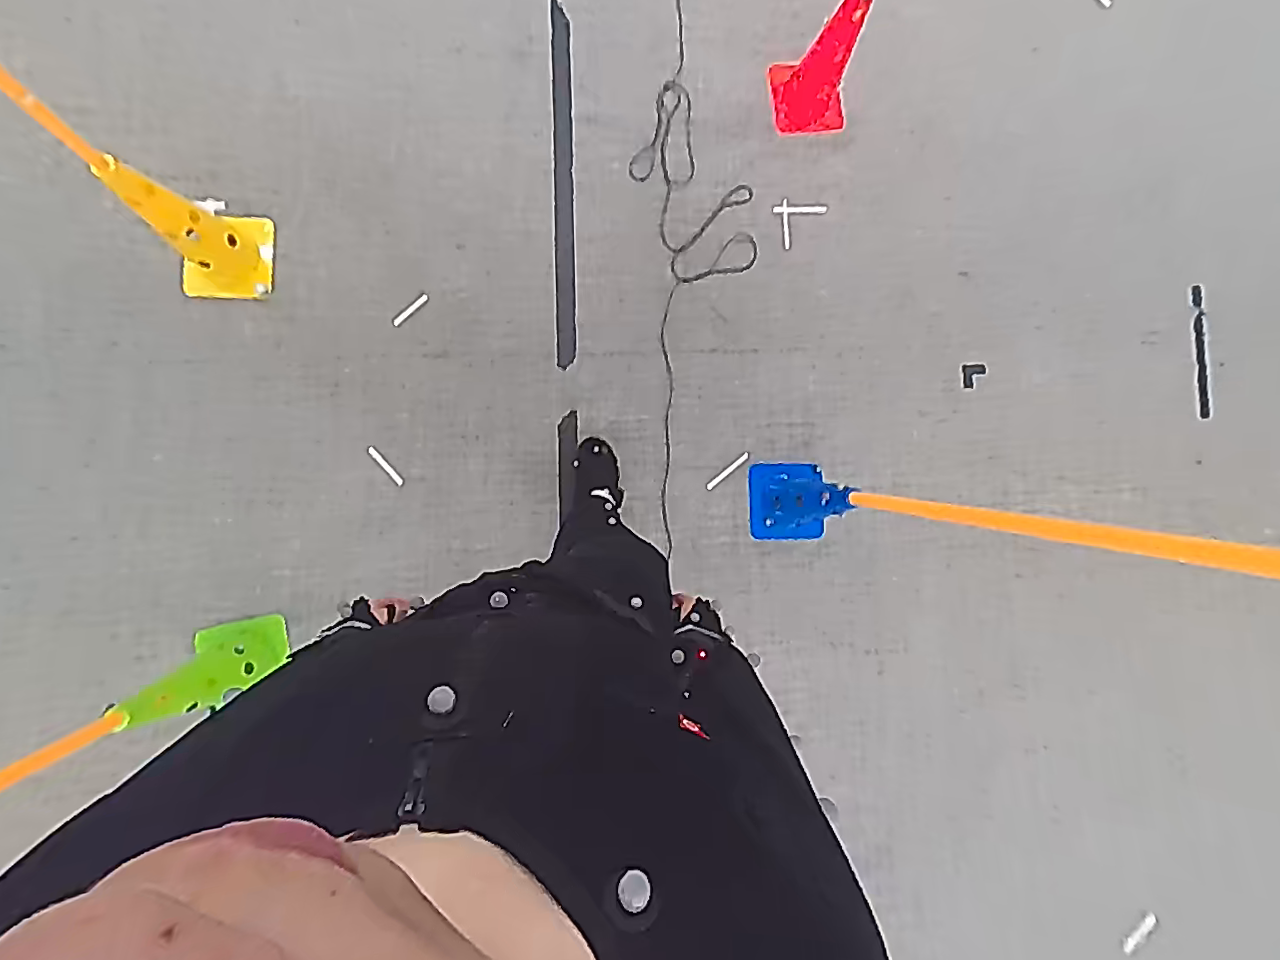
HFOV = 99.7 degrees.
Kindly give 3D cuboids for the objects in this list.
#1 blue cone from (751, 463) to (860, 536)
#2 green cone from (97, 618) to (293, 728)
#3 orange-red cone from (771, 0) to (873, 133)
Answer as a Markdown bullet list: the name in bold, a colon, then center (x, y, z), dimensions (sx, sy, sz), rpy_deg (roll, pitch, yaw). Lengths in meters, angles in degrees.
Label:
- **blue cone**: center (0.402, 0.037, 1.252), dimensions (0.193, 0.380, 0.192), rpy_deg (1, 85, -6)
- **green cone**: center (-0.898, 0.417, 1.078), dimensions (0.200, 0.368, 0.202), rpy_deg (-12, 85, -7)
- **orange-red cone**: center (0.480, -1.069, 1.324), dimensions (0.199, 0.360, 0.198), rpy_deg (-7, 86, -5)
